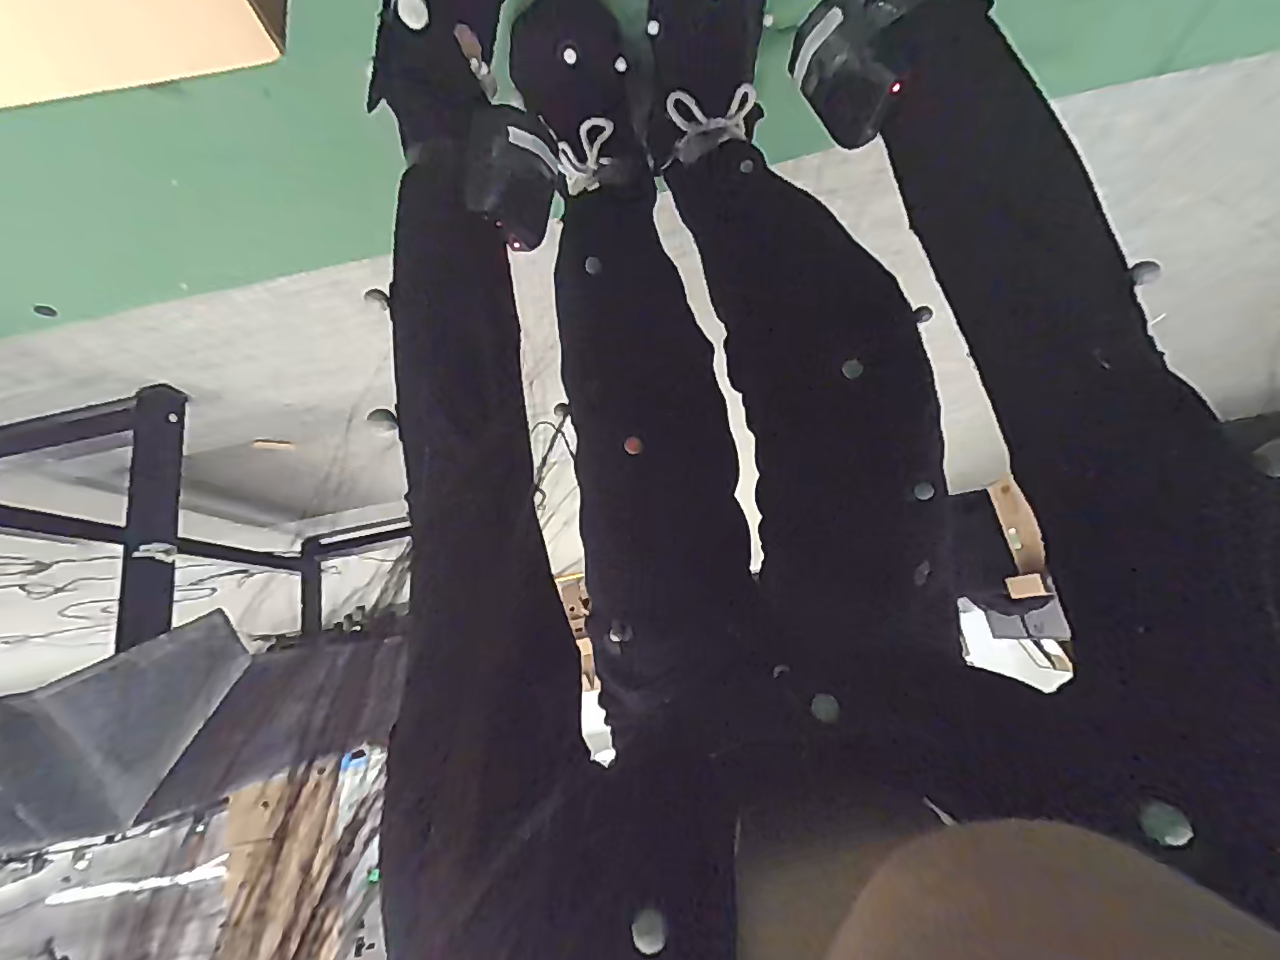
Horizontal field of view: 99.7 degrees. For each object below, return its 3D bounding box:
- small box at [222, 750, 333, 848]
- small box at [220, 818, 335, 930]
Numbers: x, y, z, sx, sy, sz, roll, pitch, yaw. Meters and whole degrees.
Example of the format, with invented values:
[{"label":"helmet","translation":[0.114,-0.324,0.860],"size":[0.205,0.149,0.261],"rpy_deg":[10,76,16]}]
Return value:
[{"label":"small box","translation":[-0.906,0.797,1.368],"size":[0.179,0.176,0.168],"rpy_deg":[-11,163,2]},{"label":"small box","translation":[-0.881,0.952,1.325],"size":[0.168,0.176,0.179],"rpy_deg":[-11,163,5]}]
